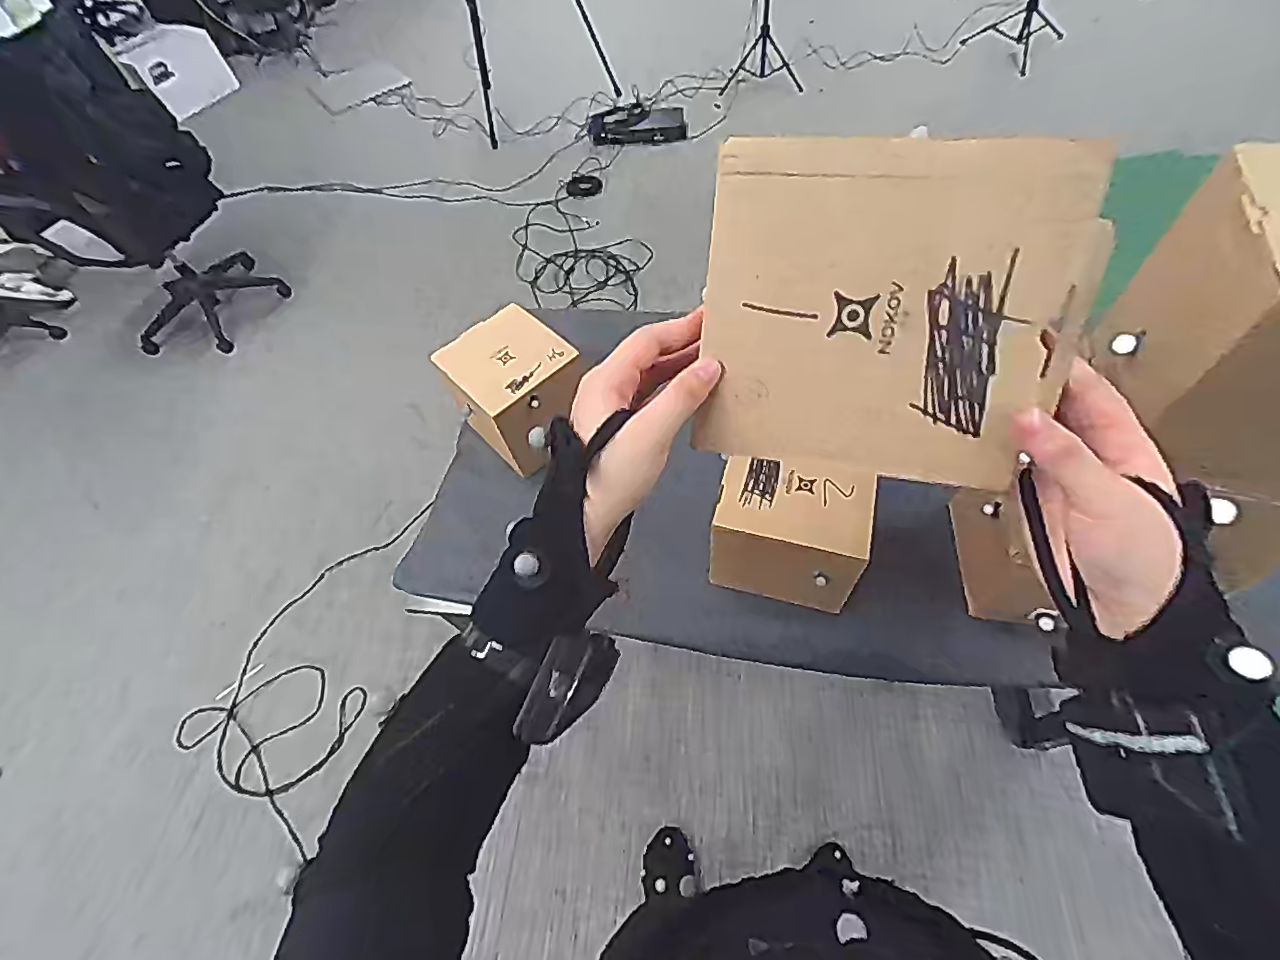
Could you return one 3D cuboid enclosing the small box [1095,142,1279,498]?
[{"bbox_3d":[0.465,-0.100,0.374,0.179,0.176,0.168,14,59,18],"label":"small box"}]

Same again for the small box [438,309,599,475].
[{"bbox_3d":[-0.192,-0.139,0.889,0.168,0.176,0.179,-41,61,-17],"label":"small box"}]

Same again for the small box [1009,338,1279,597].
[{"bbox_3d":[0.483,-0.007,0.509,0.179,0.176,0.168,12,59,17],"label":"small box"}]

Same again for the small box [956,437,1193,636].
[{"bbox_3d":[0.505,0.070,0.651,0.168,0.176,0.179,2,57,11],"label":"small box"}]
